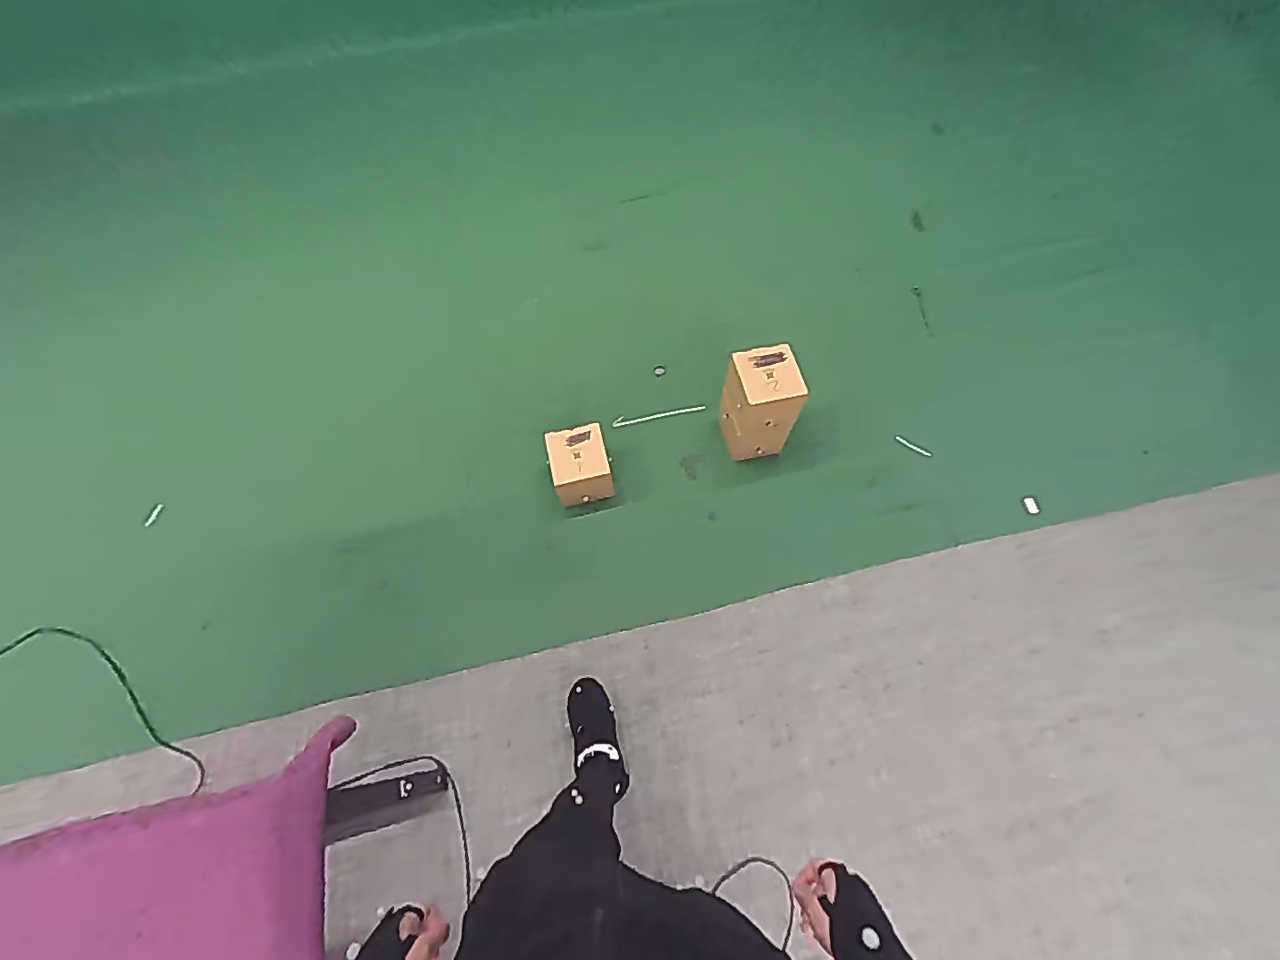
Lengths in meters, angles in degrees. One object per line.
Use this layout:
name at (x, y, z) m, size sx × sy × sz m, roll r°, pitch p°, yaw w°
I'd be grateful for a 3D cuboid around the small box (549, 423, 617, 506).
small box at (-0.170, -0.044, 1.632) m, size 0.168 × 0.176 × 0.179 m, roll -13°, pitch 66°, yaw -4°

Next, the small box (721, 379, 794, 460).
small box at (0.358, -0.184, 1.683) m, size 0.168 × 0.176 × 0.179 m, roll -11°, pitch 66°, yaw -4°
